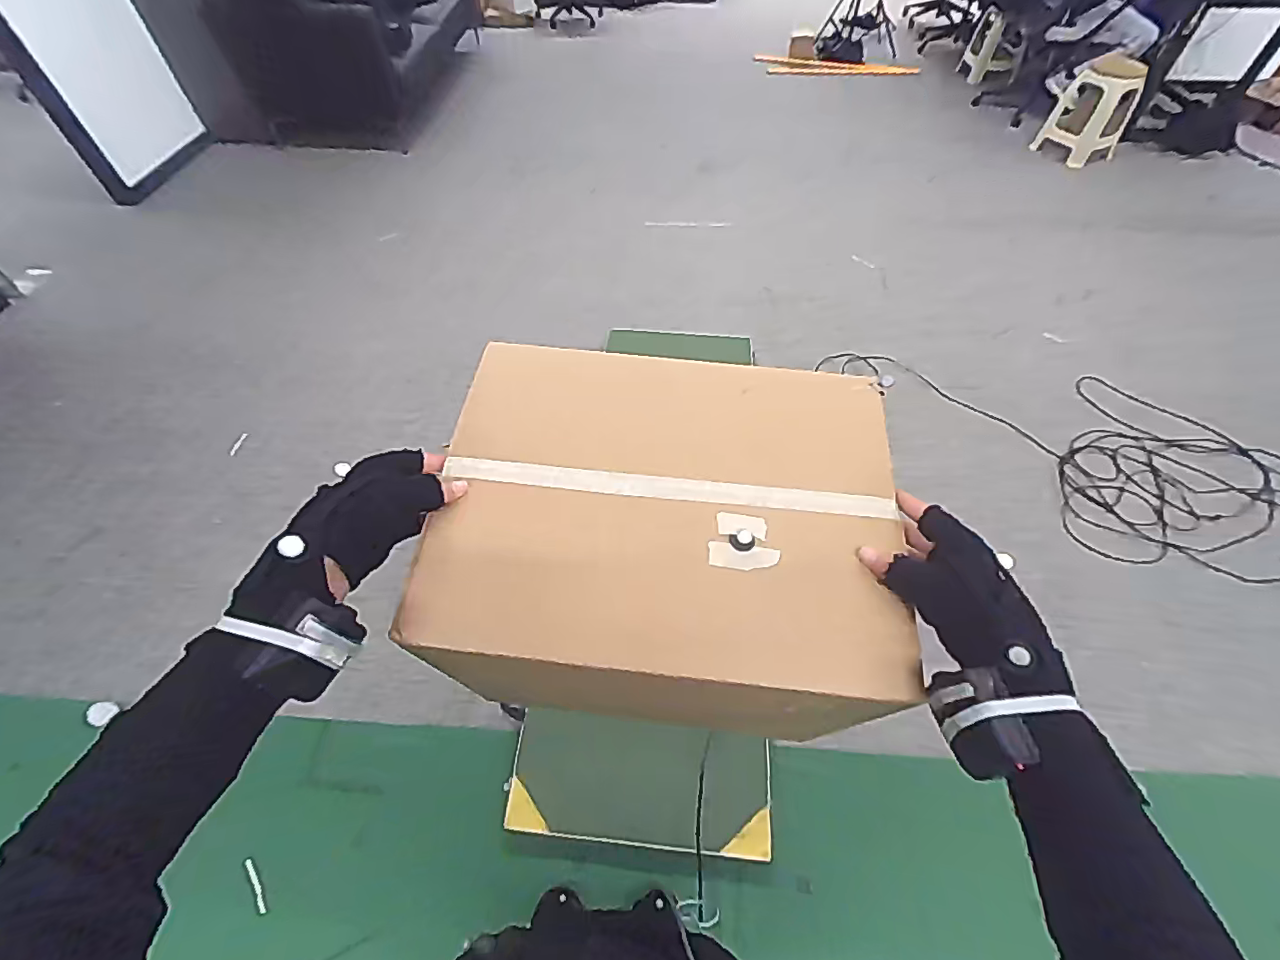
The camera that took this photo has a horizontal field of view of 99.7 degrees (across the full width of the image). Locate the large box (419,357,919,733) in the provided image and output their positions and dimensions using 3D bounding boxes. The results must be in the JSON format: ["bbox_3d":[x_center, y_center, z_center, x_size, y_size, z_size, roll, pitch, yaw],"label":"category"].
[{"bbox_3d":[0.028,0.091,0.624,0.408,0.320,0.320,6,60,2],"label":"large box"}]
